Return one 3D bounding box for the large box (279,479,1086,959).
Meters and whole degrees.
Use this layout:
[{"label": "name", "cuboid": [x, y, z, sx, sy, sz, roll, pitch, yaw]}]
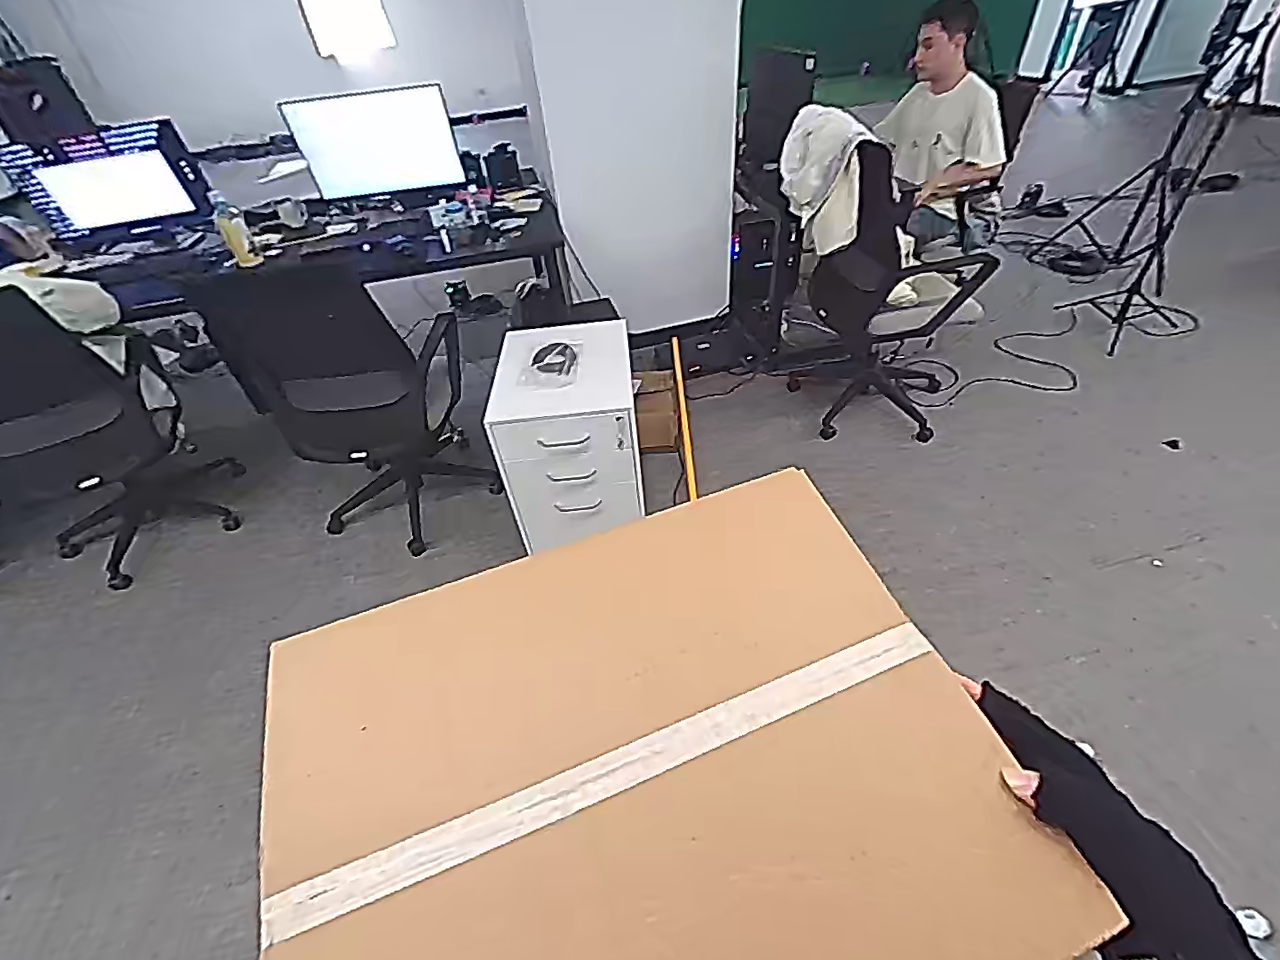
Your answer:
[{"label": "large box", "cuboid": [0.002, 0.261, 0.443, 0.408, 0.320, 0.320, -19, 54, -11]}]
